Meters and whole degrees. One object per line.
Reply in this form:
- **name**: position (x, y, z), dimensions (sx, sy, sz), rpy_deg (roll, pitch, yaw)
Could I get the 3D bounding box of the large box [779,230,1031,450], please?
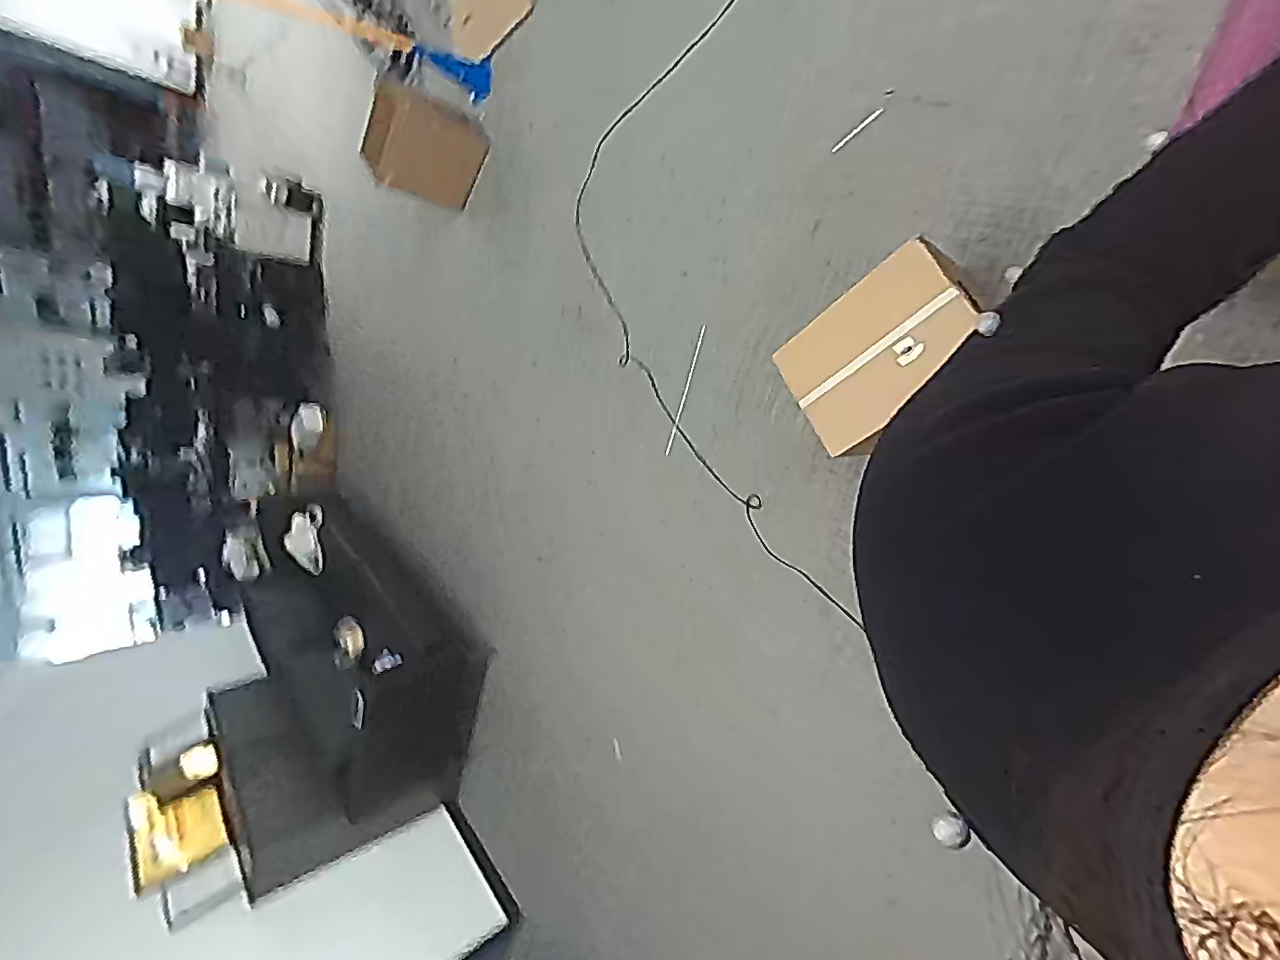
- **large box**: position (0.628, -0.303, 1.312), dimensions (0.408, 0.320, 0.320), rpy_deg (-39, 68, 38)
